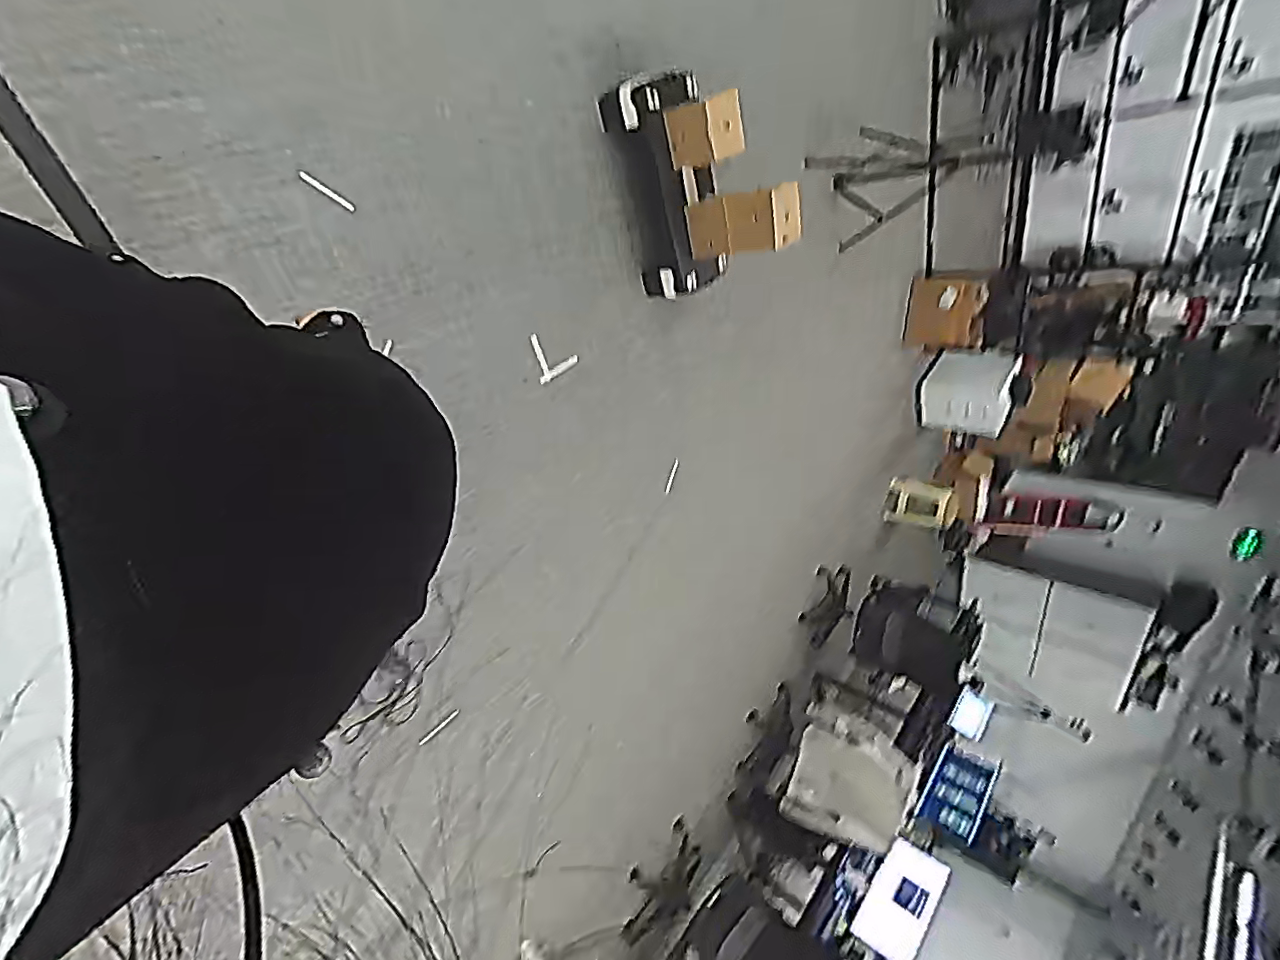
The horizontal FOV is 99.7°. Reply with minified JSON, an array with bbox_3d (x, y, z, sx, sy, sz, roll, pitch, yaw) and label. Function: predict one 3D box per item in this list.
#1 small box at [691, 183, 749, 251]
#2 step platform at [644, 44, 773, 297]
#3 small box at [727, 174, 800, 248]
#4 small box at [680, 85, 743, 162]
[{"bbox_3d":[0.272,-0.902,1.863,0.168,0.176,0.179,-41,129,-32],"label":"small box"},{"bbox_3d":[0.236,-0.961,1.752,0.286,0.204,0.684,-41,130,-31],"label":"step platform"},{"bbox_3d":[0.402,-0.876,1.767,0.168,0.176,0.179,-37,126,-34],"label":"small box"},{"bbox_3d":[0.200,-1.127,1.712,0.179,0.176,0.168,-41,129,-31],"label":"small box"}]
